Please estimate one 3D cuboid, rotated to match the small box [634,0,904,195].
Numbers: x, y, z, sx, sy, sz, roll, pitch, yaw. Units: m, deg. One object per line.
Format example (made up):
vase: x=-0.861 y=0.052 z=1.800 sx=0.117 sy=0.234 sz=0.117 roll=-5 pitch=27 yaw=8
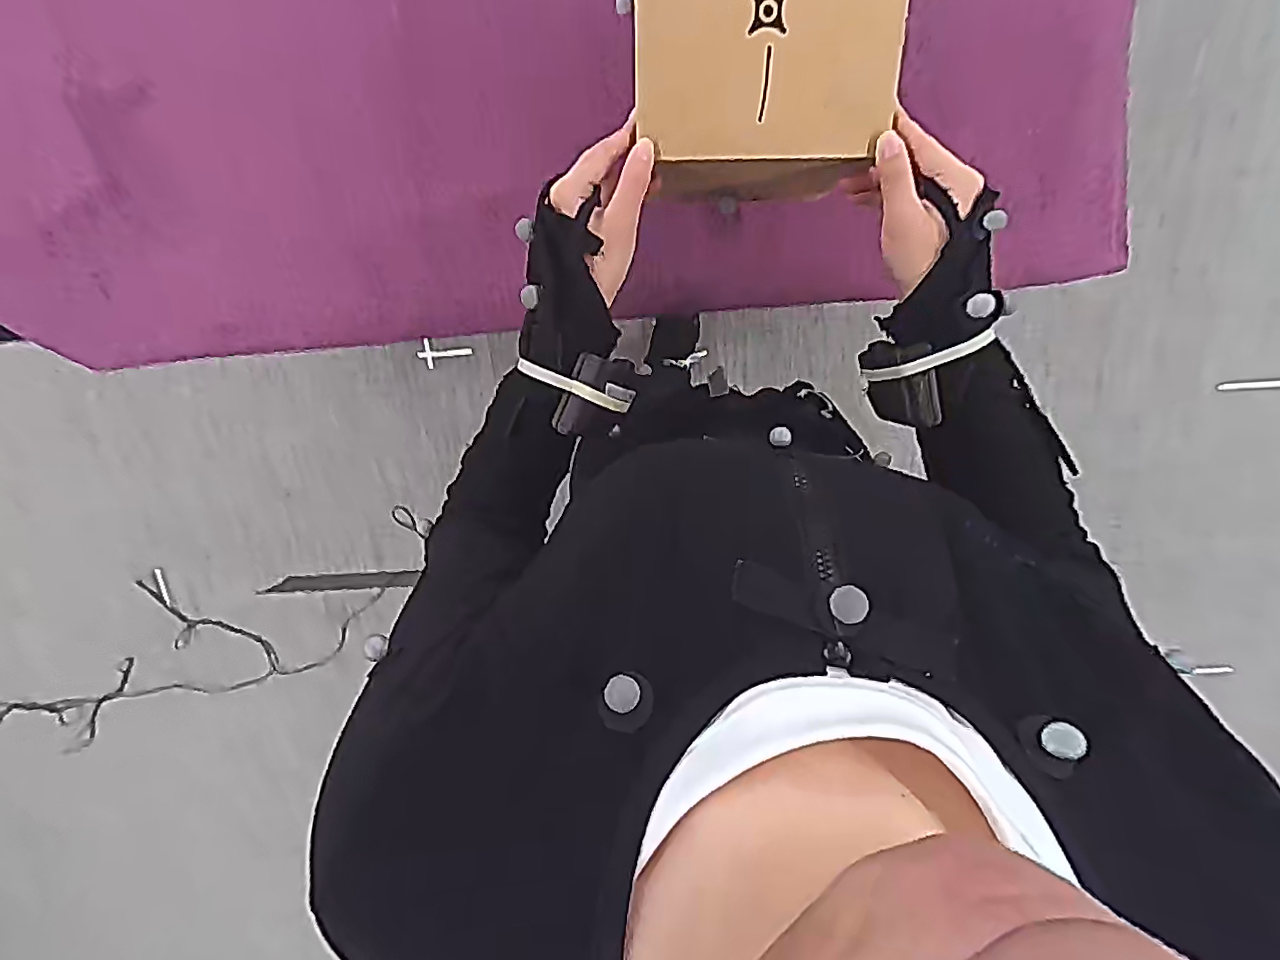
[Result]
small box: x=0.079 y=-0.326 z=0.400 sx=0.168 sy=0.176 sz=0.179 roll=0 pitch=108 yaw=1
